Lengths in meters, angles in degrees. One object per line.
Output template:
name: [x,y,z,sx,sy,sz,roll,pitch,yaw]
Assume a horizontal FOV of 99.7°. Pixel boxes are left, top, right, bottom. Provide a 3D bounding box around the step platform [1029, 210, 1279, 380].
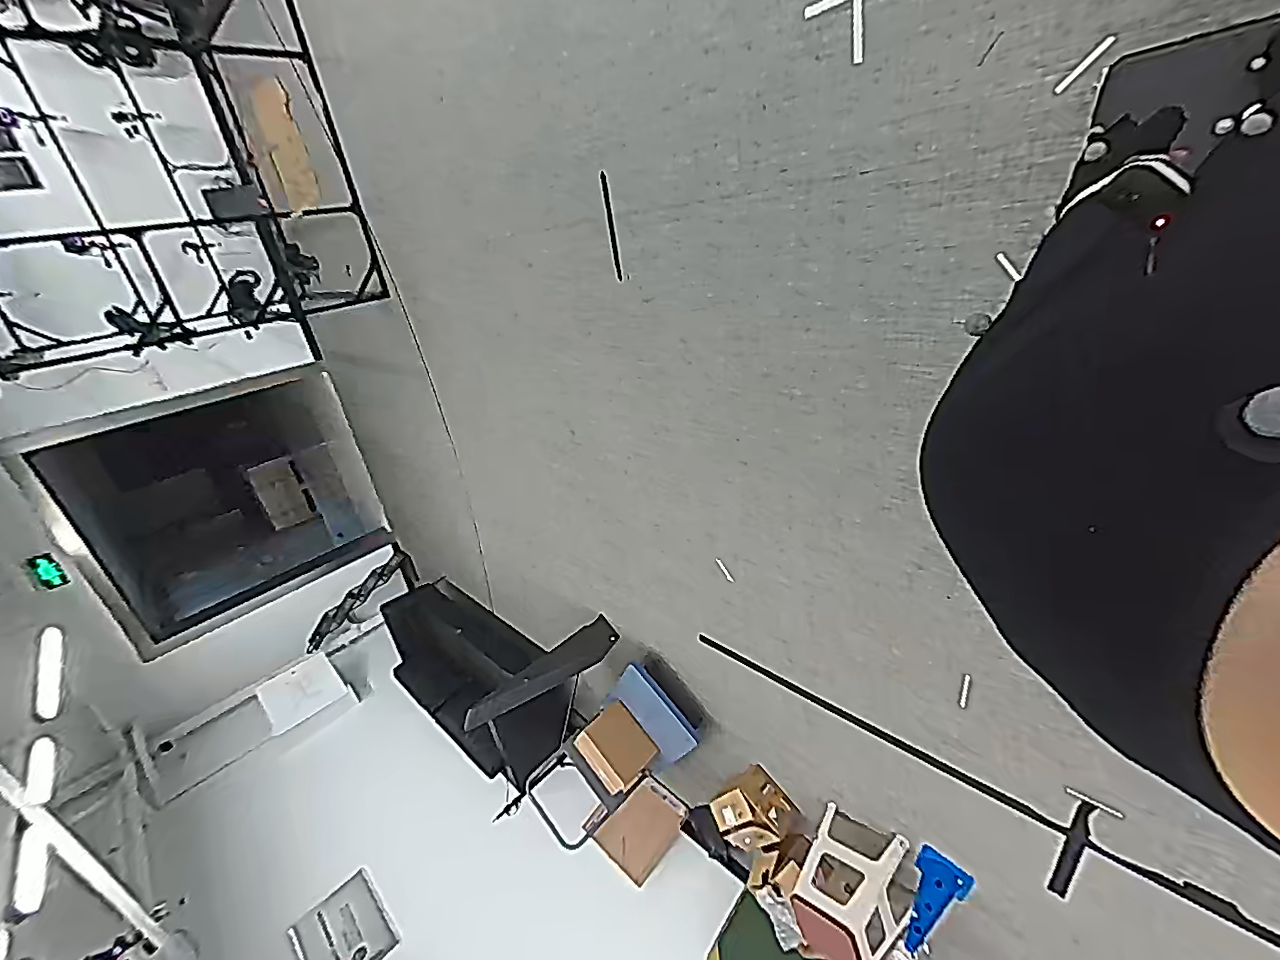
step platform: [1.120,-0.337,0.968,0.684,0.204,0.286,17,126,44]
